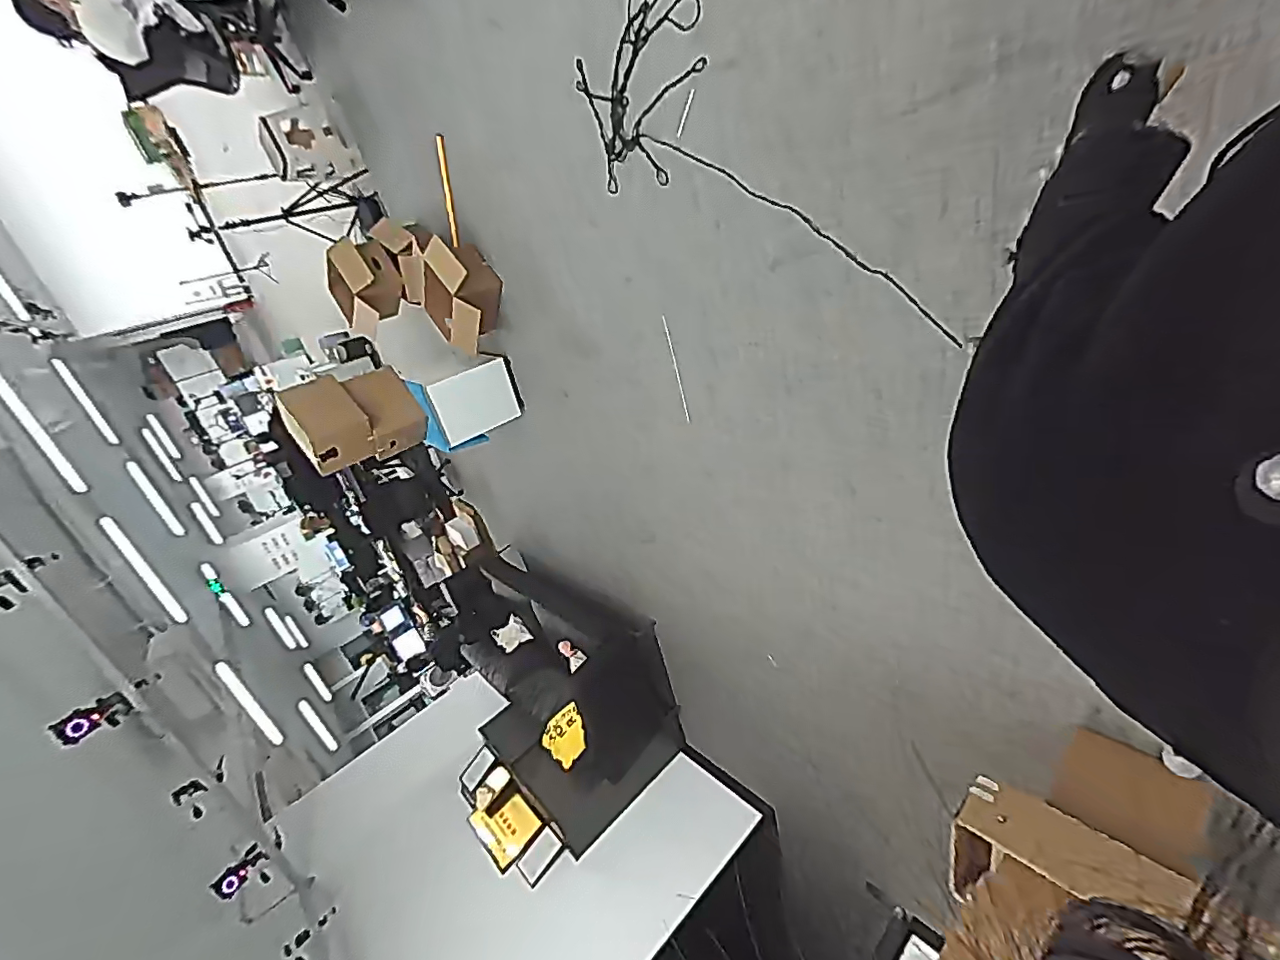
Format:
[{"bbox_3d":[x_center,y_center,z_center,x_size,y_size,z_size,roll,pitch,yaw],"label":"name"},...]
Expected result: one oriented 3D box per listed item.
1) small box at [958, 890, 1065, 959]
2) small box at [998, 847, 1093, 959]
[{"bbox_3d":[0.912,1.178,1.335,0.179,0.176,0.168,22,132,47],"label":"small box"},{"bbox_3d":[1.043,1.114,1.409,0.168,0.176,0.179,24,133,46],"label":"small box"}]
